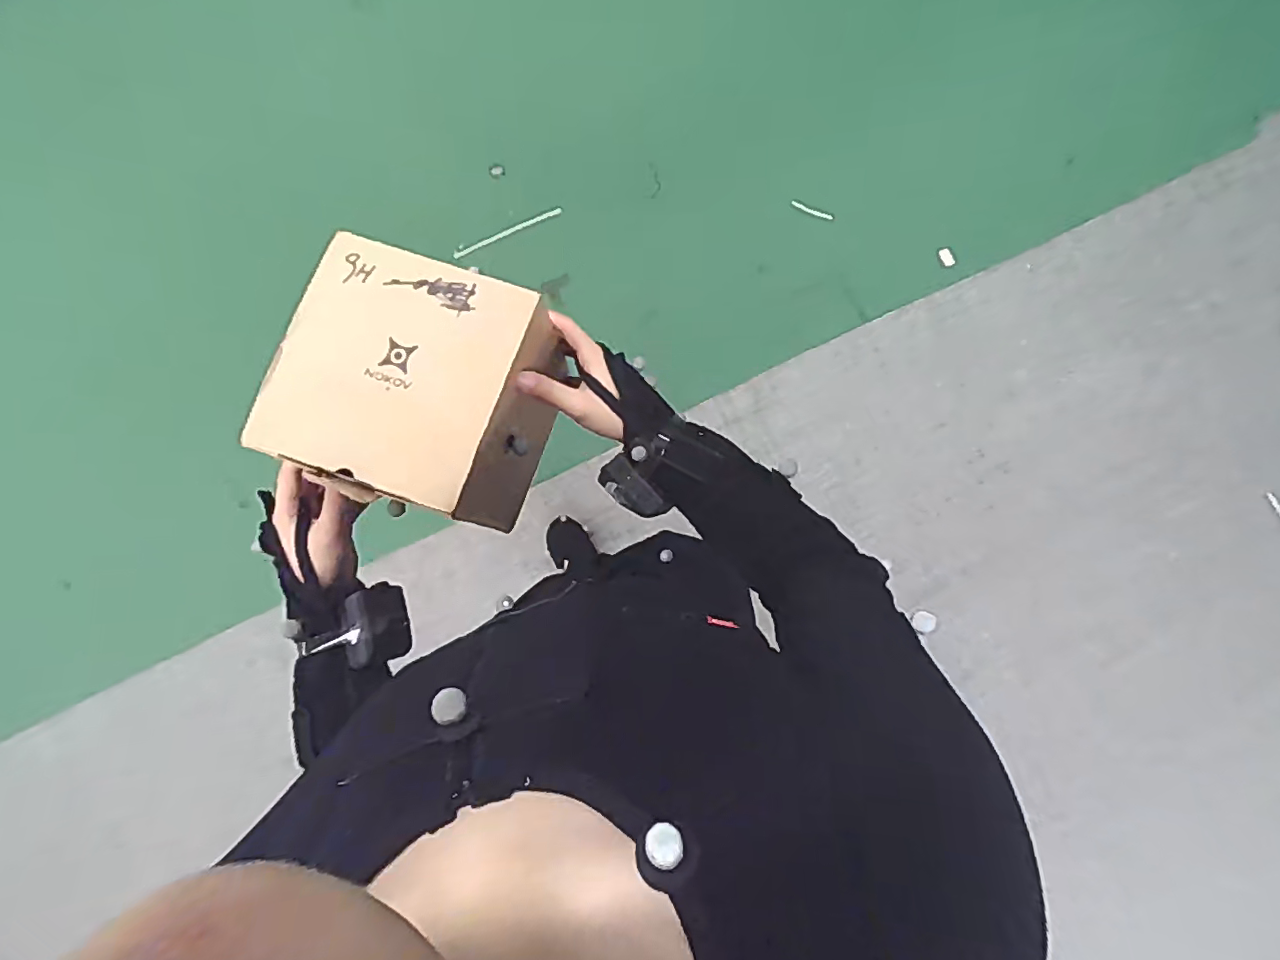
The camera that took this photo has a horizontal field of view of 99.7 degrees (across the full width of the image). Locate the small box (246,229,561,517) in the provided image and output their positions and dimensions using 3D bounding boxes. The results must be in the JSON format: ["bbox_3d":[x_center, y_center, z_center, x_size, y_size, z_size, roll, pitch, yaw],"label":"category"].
[{"bbox_3d":[-0.179,-0.074,0.471,0.168,0.176,0.179,18,83,3],"label":"small box"}]
